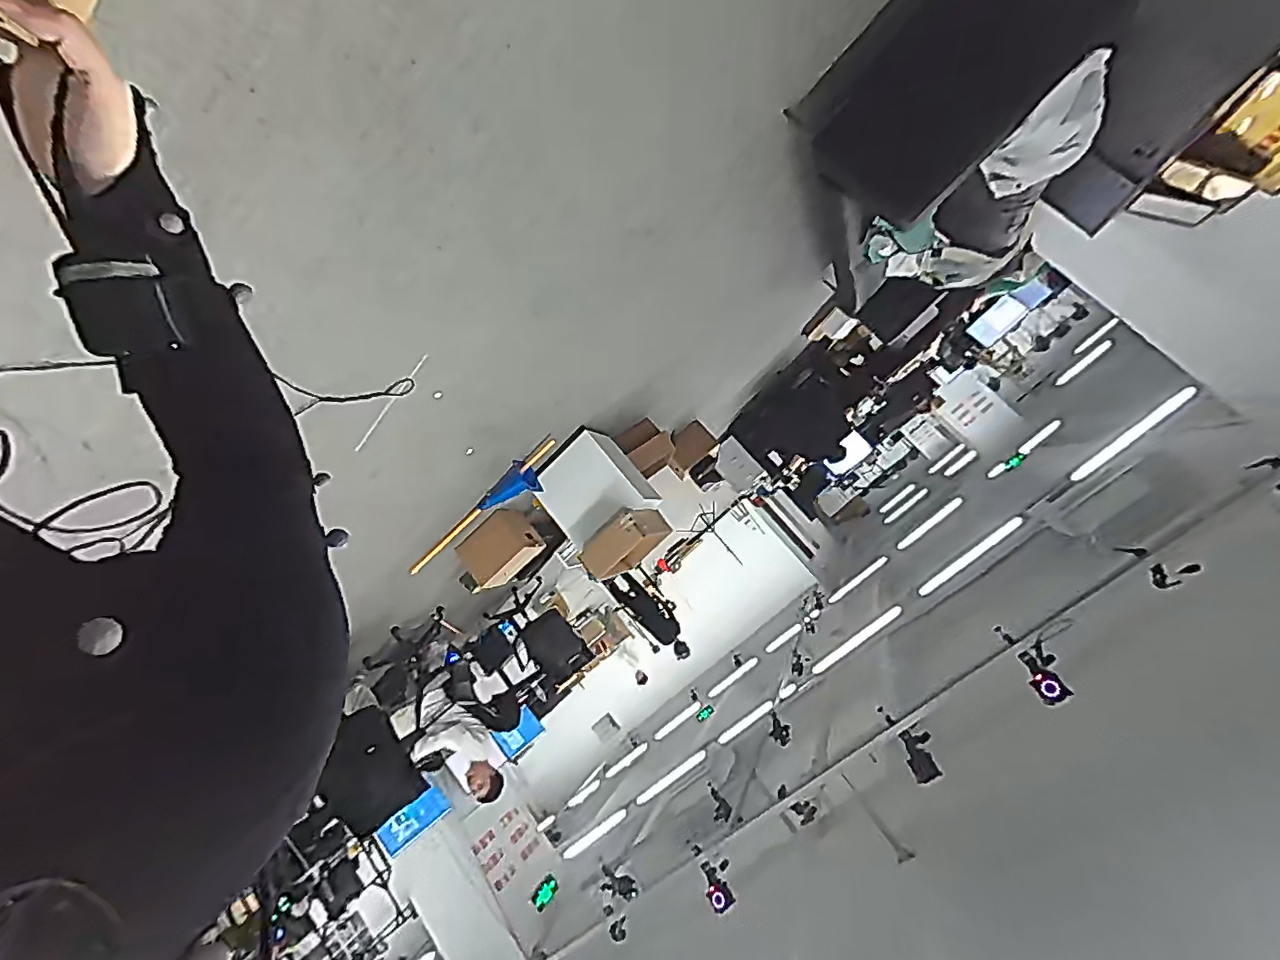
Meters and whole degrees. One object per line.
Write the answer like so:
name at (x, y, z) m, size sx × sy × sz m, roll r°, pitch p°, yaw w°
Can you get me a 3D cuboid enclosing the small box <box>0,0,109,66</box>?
small box at (-0.395, -0.370, 0.265) m, size 0.179 × 0.176 × 0.168 m, roll -63°, pitch 167°, yaw 5°
